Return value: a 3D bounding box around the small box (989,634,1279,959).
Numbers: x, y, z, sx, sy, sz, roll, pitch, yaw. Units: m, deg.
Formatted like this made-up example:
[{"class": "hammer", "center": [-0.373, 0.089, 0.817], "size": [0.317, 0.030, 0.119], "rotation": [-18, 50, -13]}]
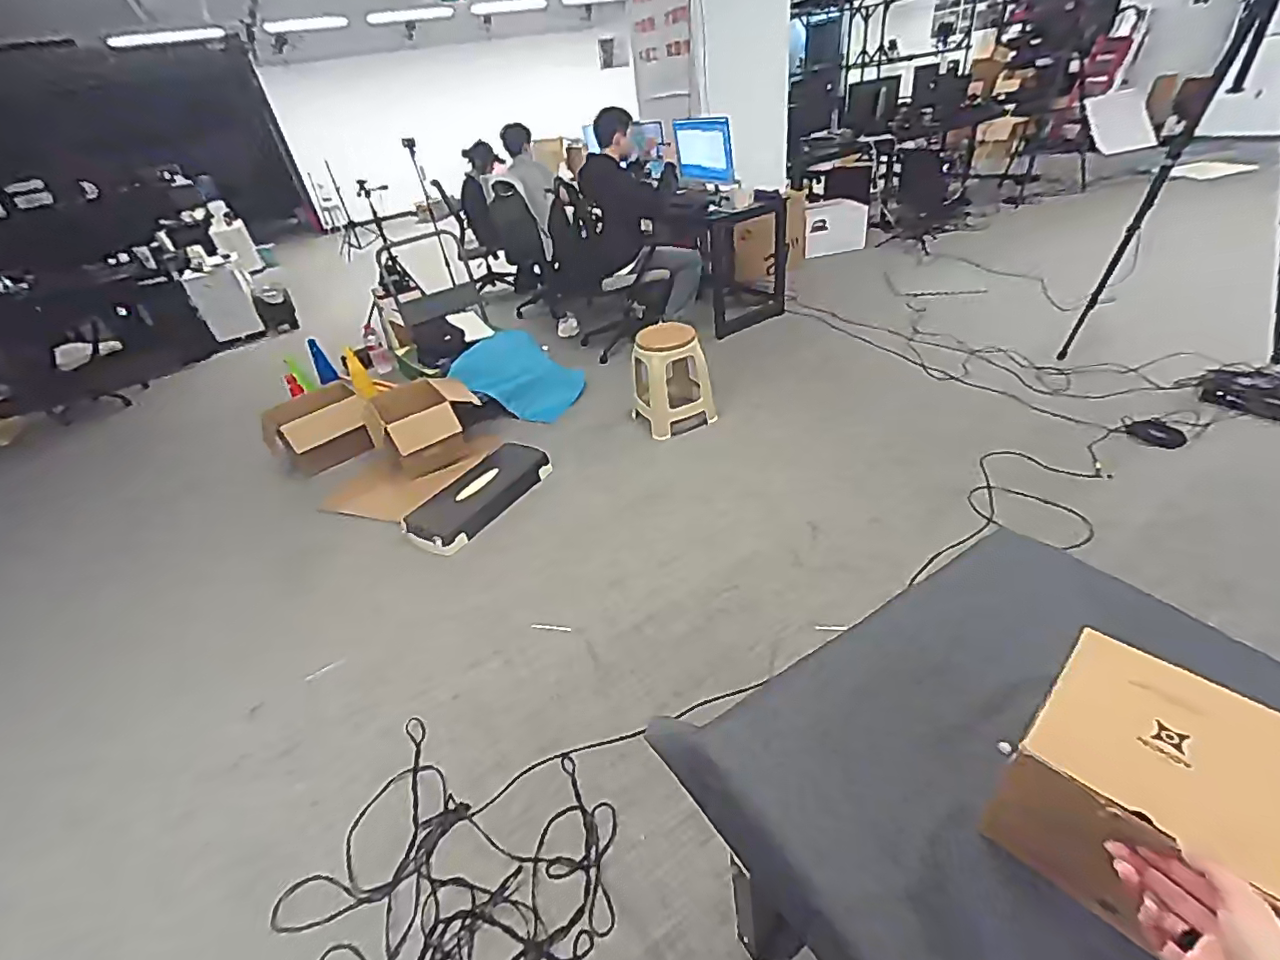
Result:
[{"class": "small box", "center": [0.456, 0.289, 0.502], "size": [0.179, 0.176, 0.168], "rotation": [-32, 42, -30]}]
